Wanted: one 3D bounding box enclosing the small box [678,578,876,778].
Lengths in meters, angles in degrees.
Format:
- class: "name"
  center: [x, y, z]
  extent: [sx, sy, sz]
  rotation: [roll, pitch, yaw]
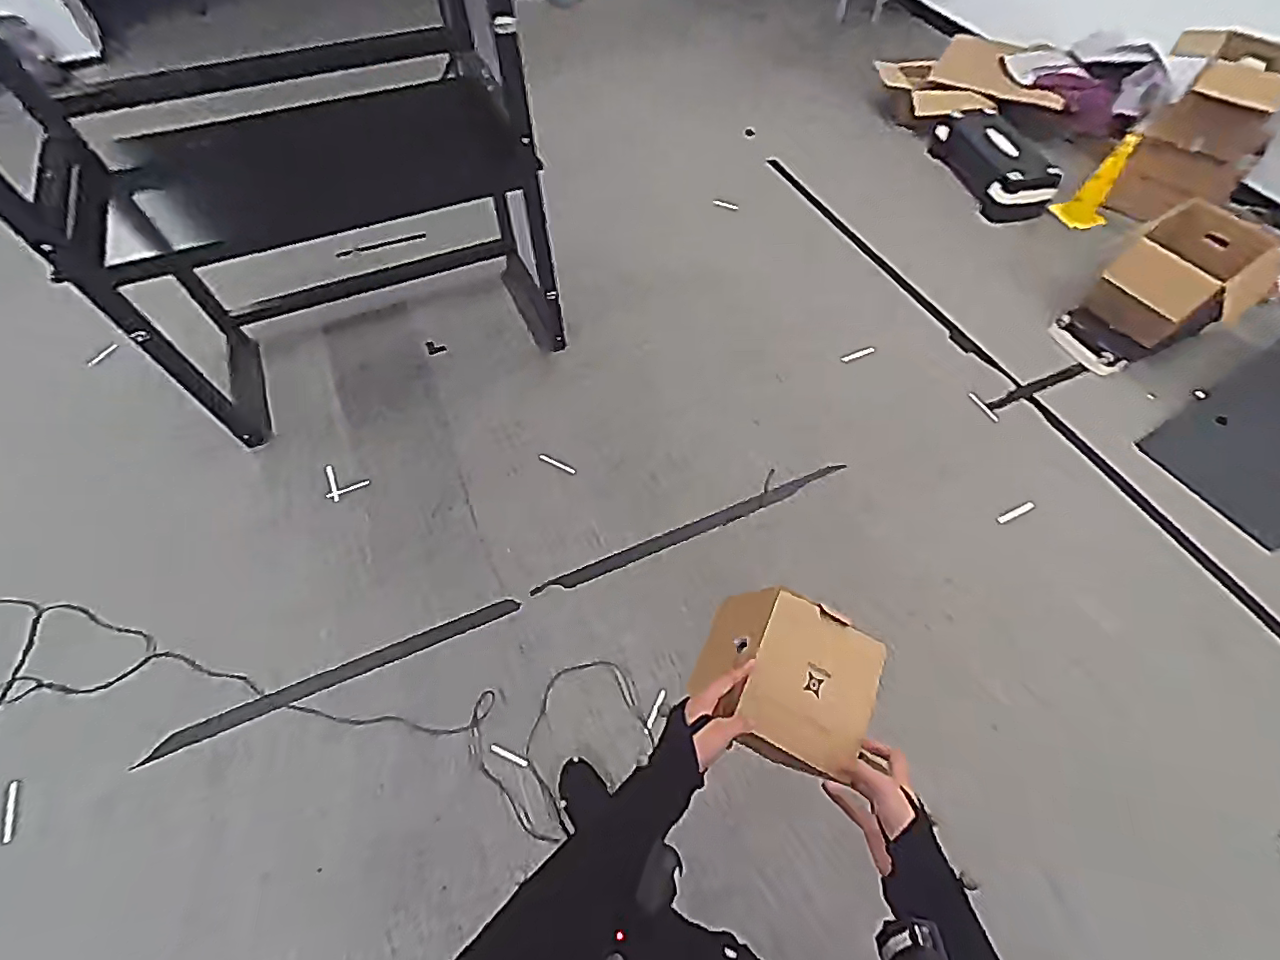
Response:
- class: "small box"
  center: [0.171, 0.254, 0.707]
  extent: [0.168, 0.176, 0.179]
  rotation: [30, 64, -6]
